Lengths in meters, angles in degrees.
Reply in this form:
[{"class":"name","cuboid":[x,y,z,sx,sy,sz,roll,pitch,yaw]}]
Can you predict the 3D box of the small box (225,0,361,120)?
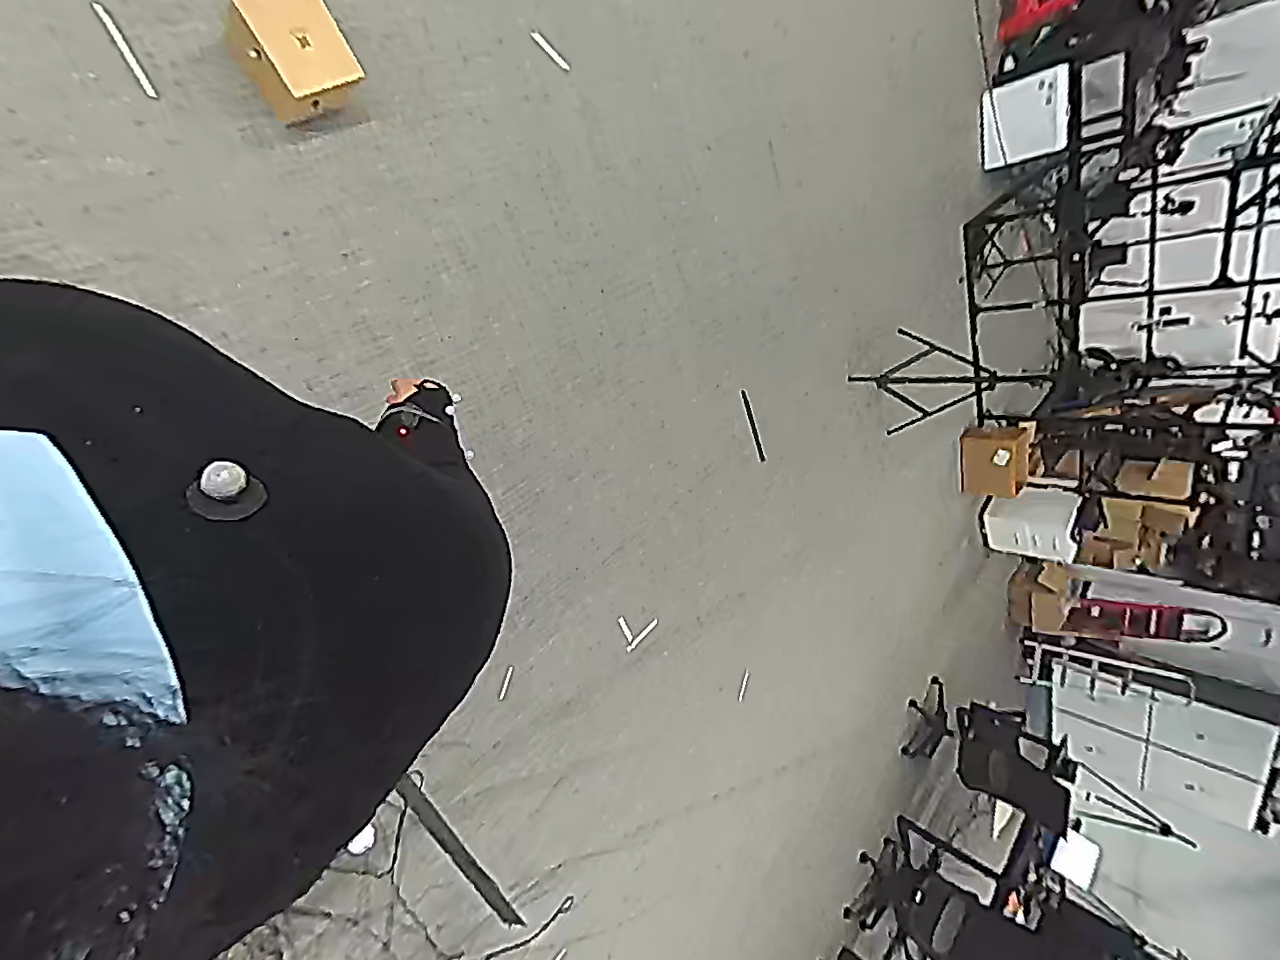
[{"class":"small box","cuboid":[-0.735,-0.898,1.146,0.168,0.176,0.179,-44,122,-27]}]
